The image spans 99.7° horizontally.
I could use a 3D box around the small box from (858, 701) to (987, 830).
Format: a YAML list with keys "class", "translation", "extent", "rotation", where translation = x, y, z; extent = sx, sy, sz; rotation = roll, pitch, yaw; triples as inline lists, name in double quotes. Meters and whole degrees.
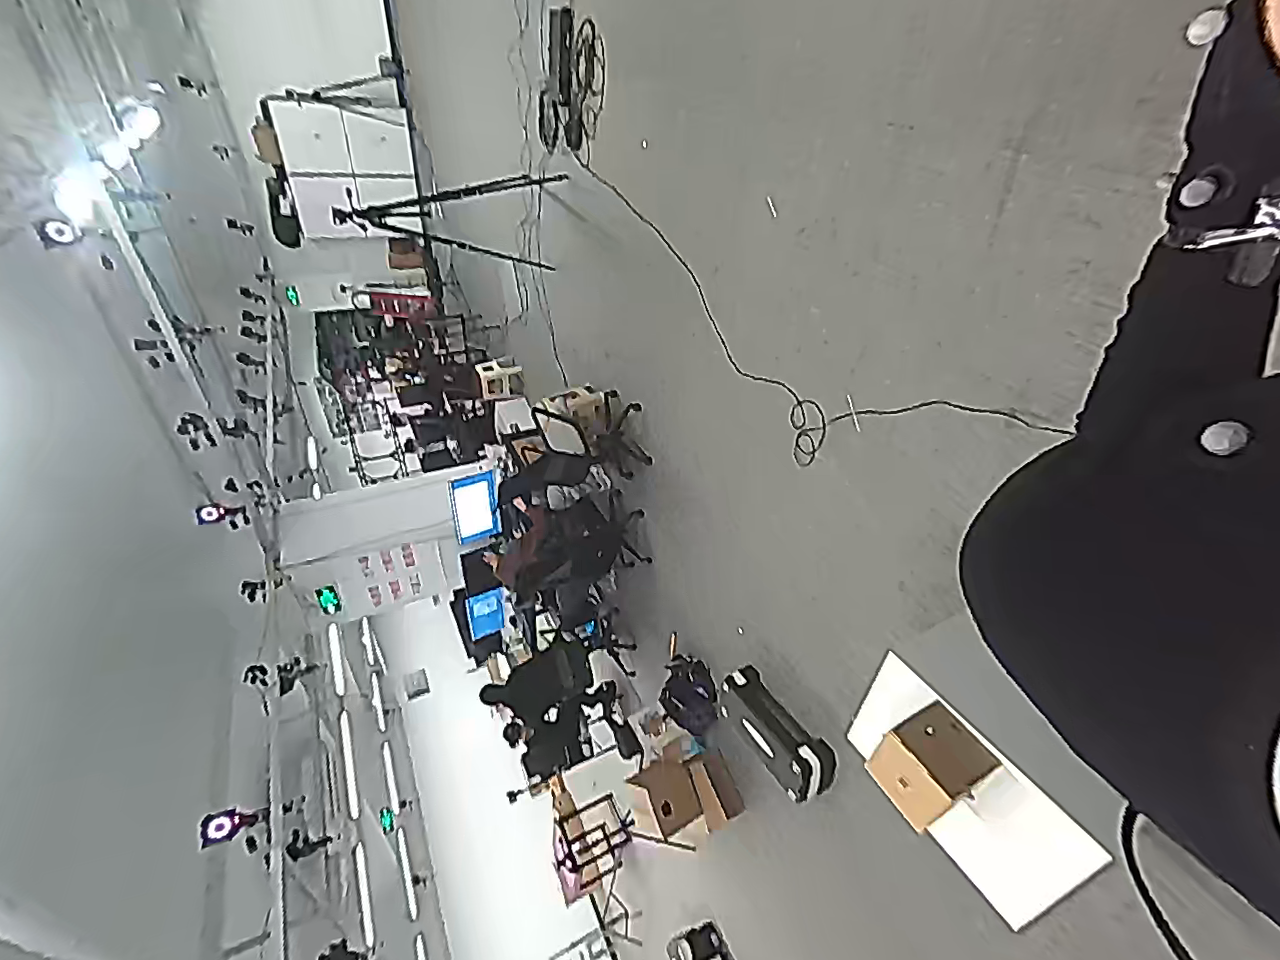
- class: "small box"
  translation: [0.632, 0.631, 1.212]
  extent: [0.168, 0.176, 0.179]
  rotation: [51, 148, 44]
